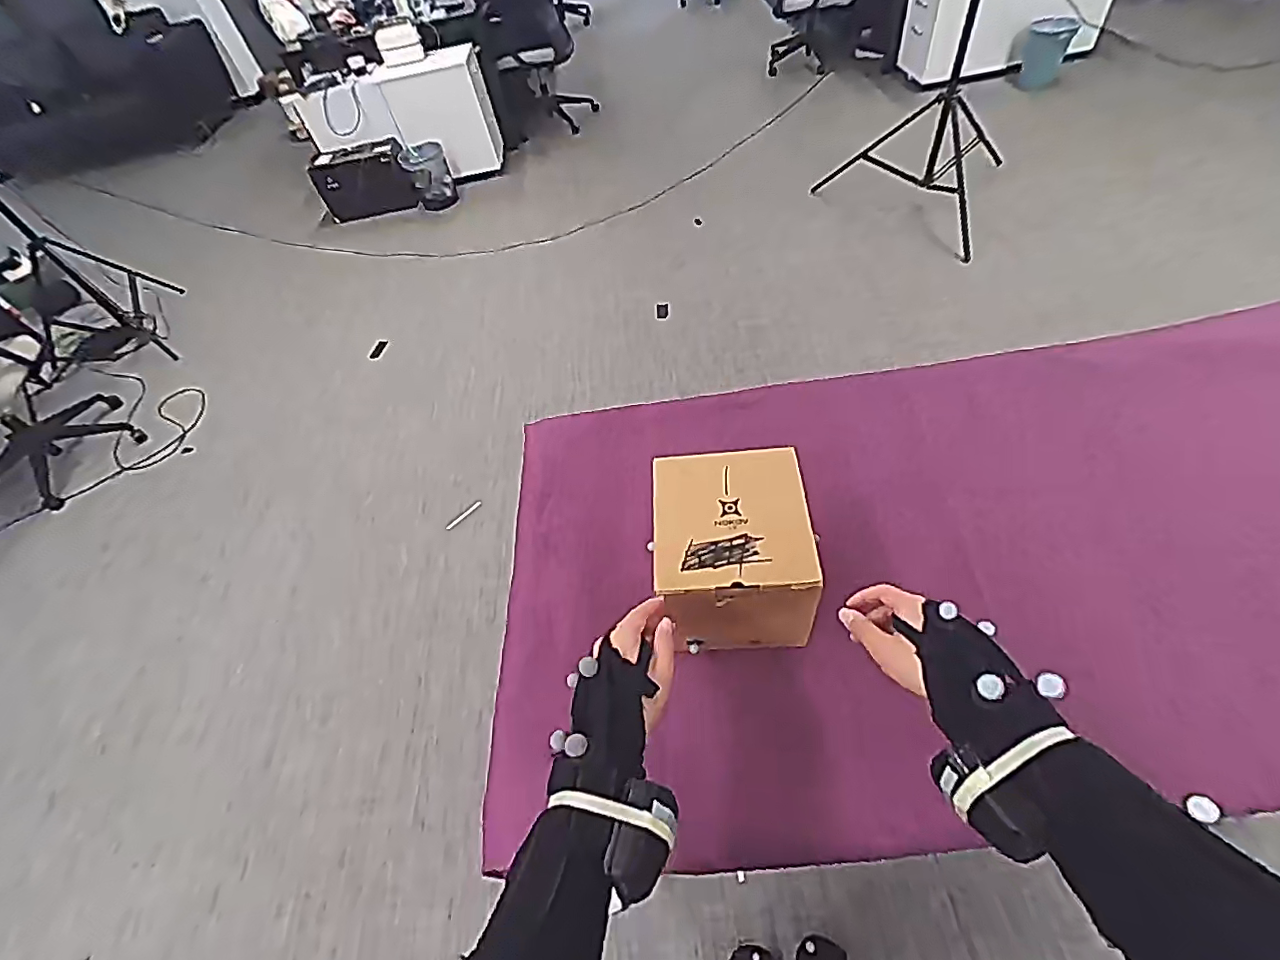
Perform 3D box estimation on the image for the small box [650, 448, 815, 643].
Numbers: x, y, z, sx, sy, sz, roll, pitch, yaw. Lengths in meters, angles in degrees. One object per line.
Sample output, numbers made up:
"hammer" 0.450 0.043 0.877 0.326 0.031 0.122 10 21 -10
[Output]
"small box" 0.104 0.085 0.644 0.168 0.176 0.179 -4 52 7
